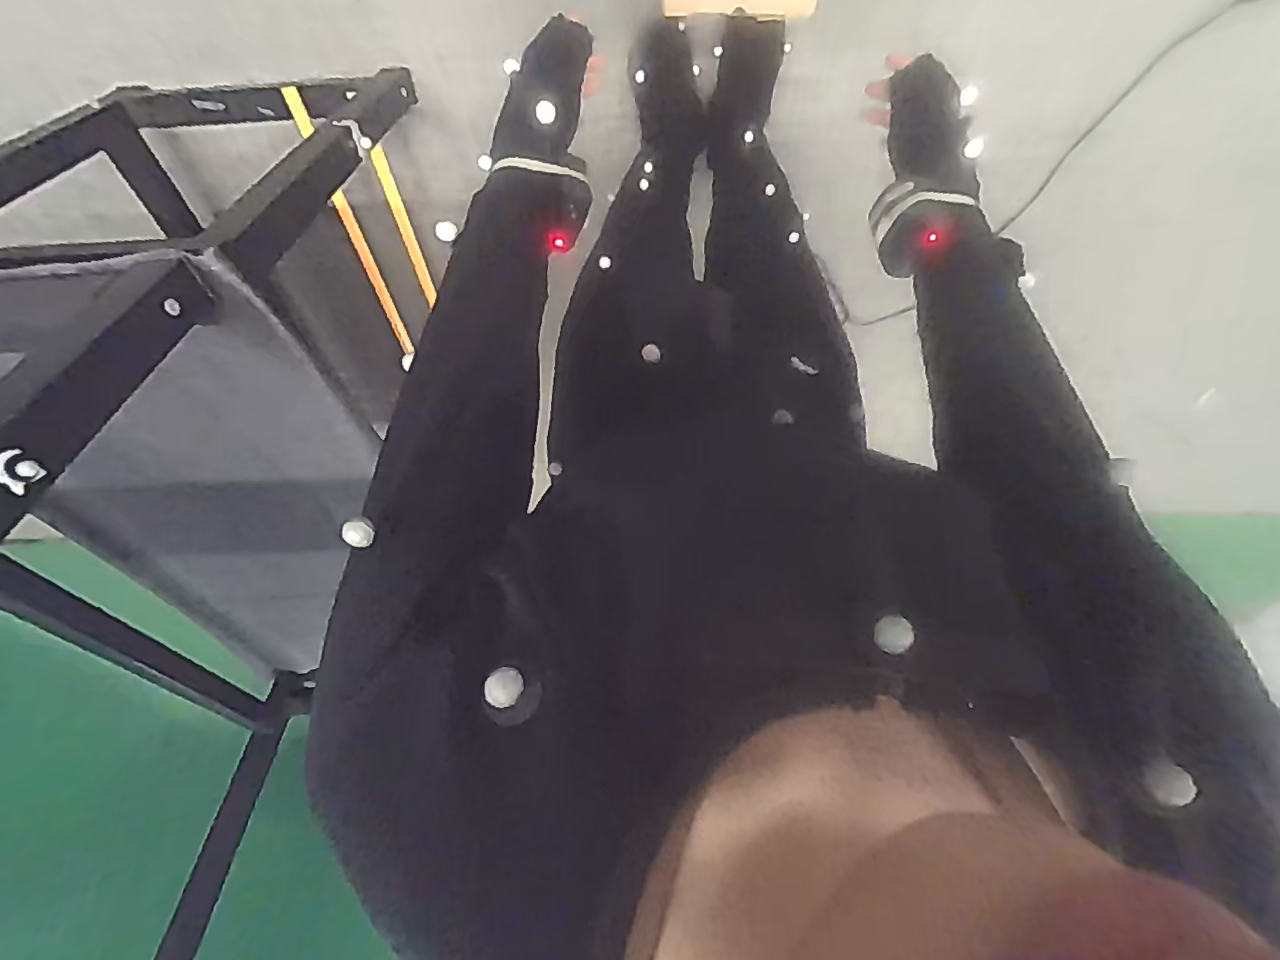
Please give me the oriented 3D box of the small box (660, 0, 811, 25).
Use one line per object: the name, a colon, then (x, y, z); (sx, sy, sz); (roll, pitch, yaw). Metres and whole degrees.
small box: (0.107, -0.625, 0.585); (0.168, 0.176, 0.179); (0, 139, -1)
